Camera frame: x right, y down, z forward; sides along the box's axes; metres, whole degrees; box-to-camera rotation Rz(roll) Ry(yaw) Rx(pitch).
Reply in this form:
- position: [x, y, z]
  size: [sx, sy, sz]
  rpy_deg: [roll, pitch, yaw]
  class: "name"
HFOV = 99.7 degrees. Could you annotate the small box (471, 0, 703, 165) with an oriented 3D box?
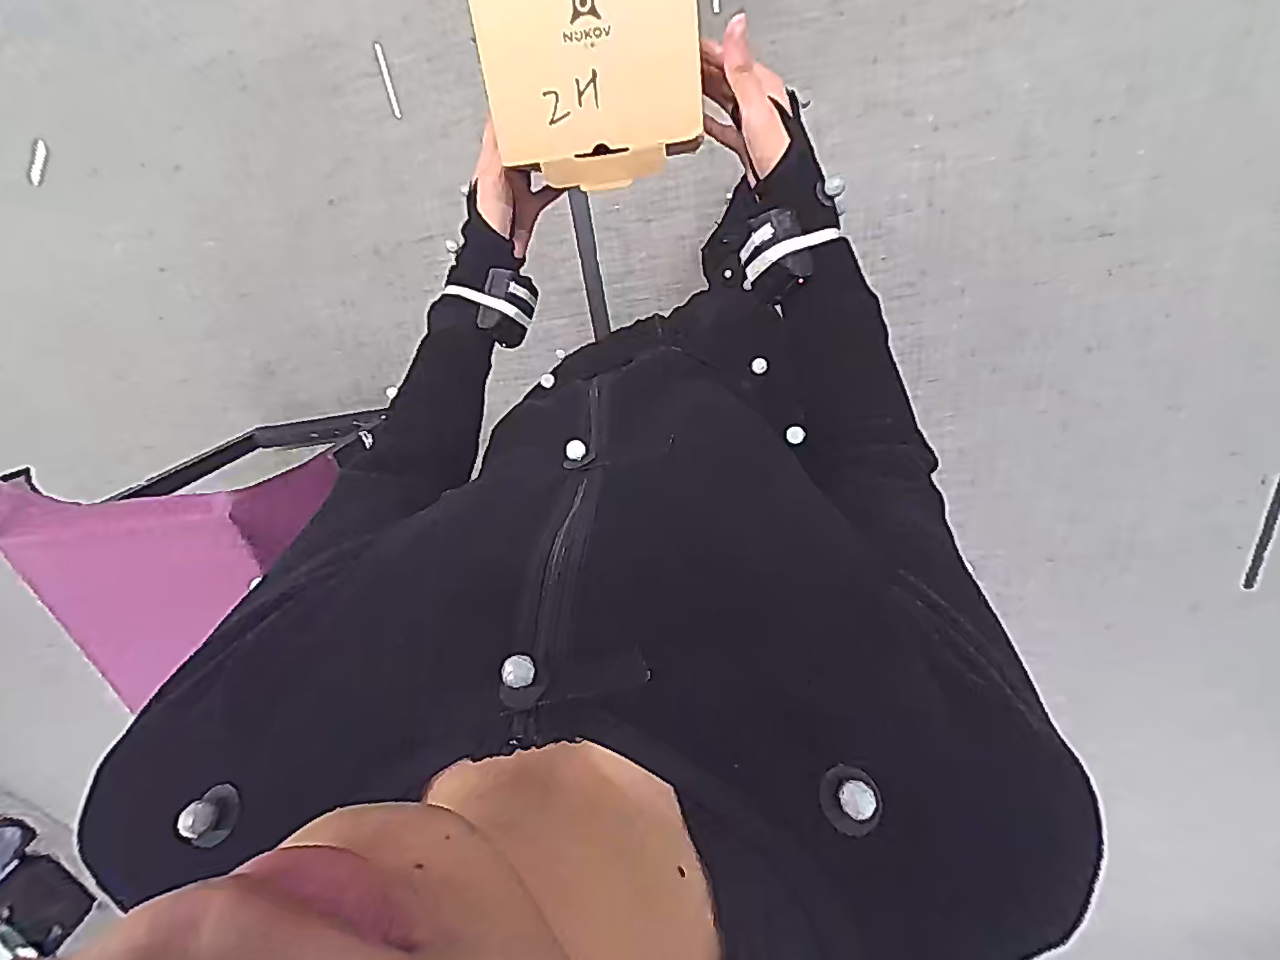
- position: [-0.037, -0.379, 0.458]
  size: [0.168, 0.176, 0.179]
  rpy_deg: [-4, 119, 6]
  class: "small box"
